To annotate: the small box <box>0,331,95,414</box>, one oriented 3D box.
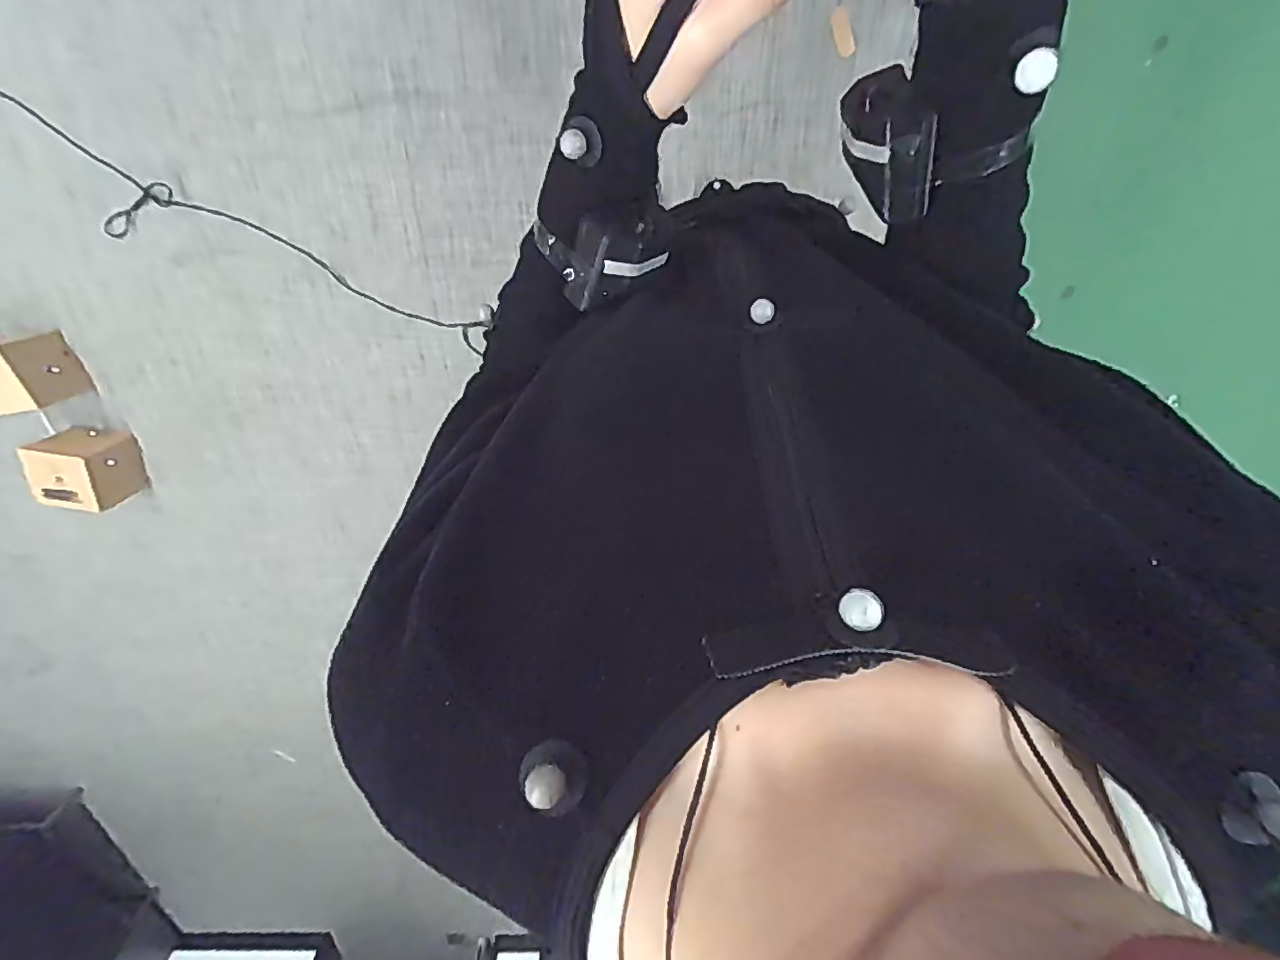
[{"bbox_3d":[-1.591,-0.282,1.403,0.179,0.176,0.168,-6,118,5],"label":"small box"}]
